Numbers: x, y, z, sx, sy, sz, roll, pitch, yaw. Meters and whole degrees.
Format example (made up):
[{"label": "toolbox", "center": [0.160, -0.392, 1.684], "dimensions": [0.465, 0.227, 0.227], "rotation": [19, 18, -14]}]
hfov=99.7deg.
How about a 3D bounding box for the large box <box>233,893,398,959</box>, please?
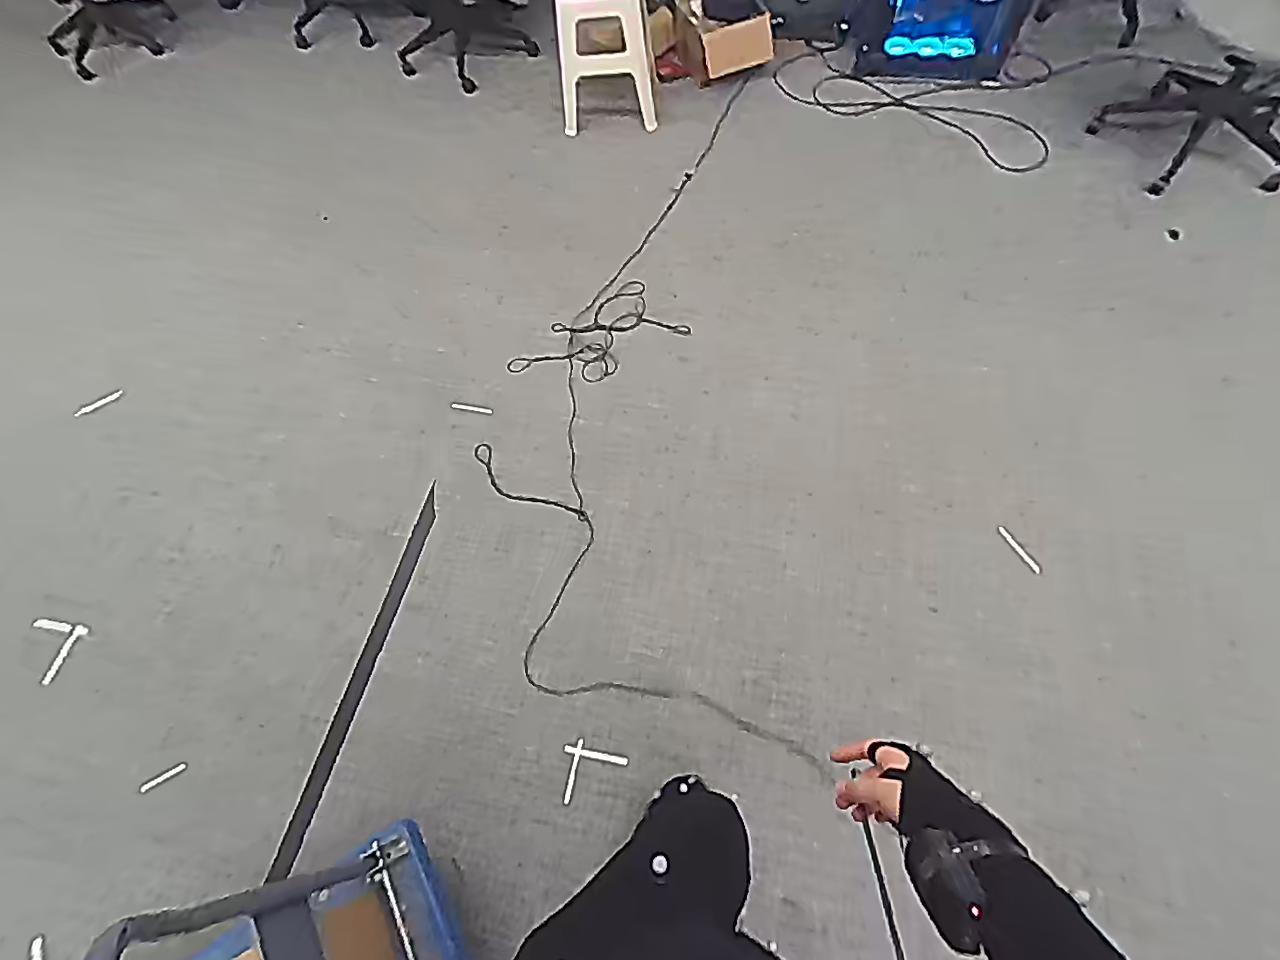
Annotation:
[{"label": "large box", "center": [-0.545, 0.953, 0.811], "dimensions": [0.320, 0.320, 0.408], "rotation": [-31, 64, -11]}]
